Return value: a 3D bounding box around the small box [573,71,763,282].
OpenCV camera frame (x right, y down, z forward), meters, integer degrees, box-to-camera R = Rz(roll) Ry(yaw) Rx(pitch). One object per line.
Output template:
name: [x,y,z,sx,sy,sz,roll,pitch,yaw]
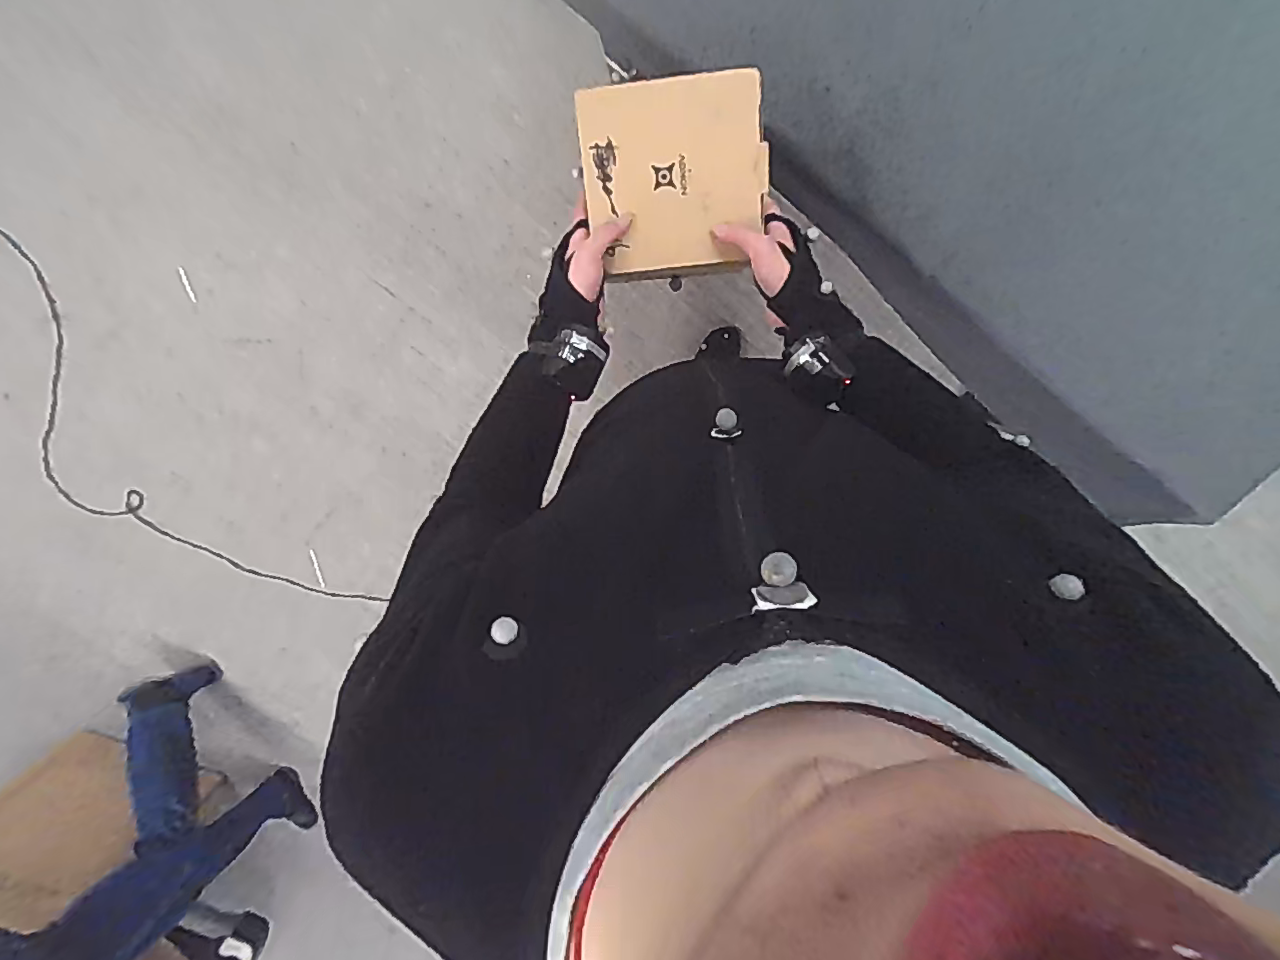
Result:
small box: [0.031,-0.314,0.594,0.179,0.176,0.168,-5,107,3]
